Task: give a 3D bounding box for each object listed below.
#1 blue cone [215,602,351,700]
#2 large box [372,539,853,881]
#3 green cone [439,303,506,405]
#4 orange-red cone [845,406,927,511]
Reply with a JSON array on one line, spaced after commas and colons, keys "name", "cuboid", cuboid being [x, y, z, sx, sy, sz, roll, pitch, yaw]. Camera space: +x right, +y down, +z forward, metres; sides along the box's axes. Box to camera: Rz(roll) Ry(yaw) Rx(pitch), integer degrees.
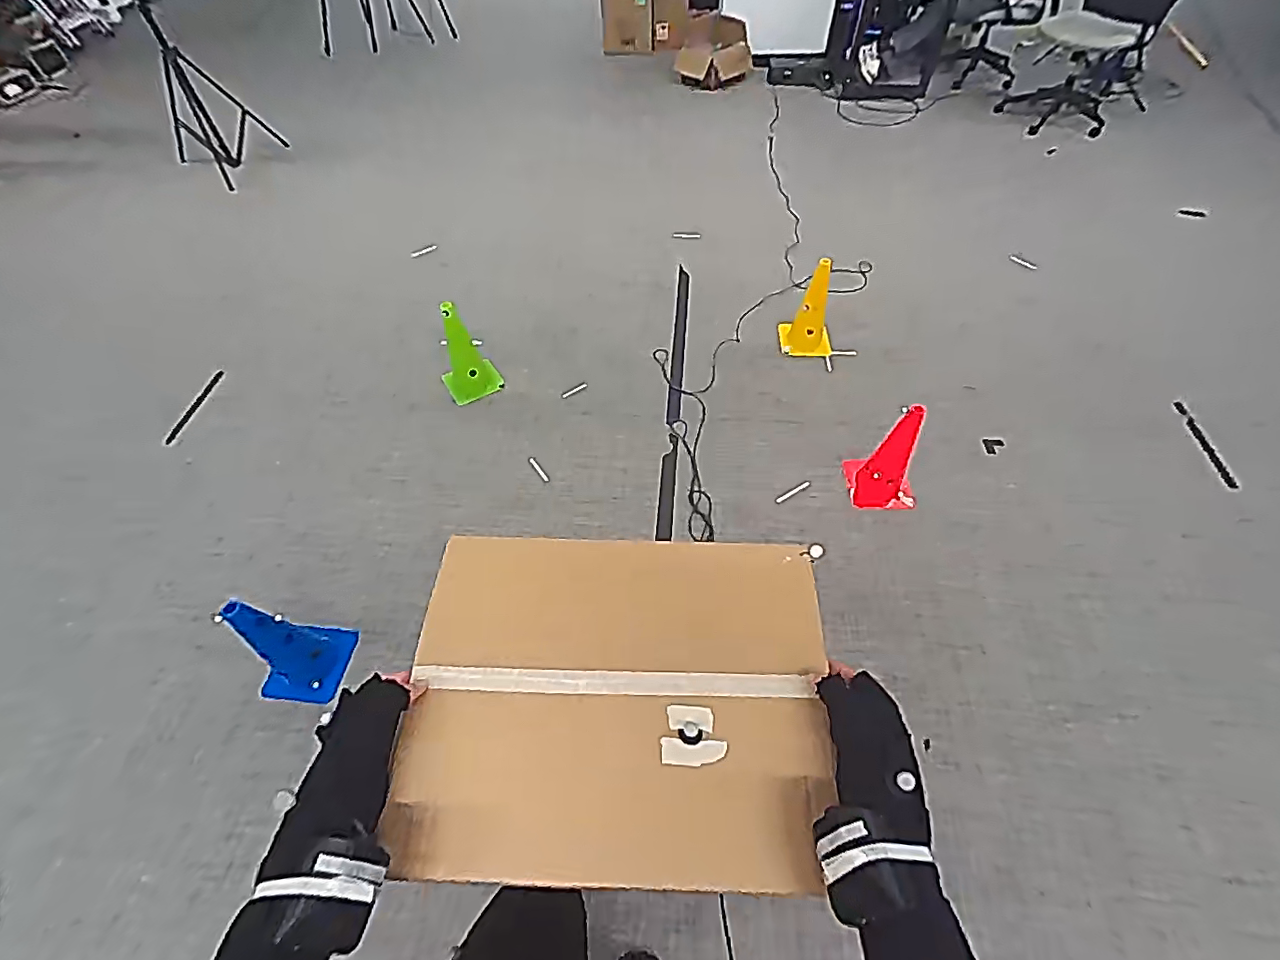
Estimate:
[{"name": "blue cone", "cuboid": [-0.908, 0.399, 1.346, 0.192, 0.380, 0.193, 5, 53, 7]}, {"name": "large box", "cuboid": [-0.022, 0.283, 0.646, 0.408, 0.320, 0.320, 2, 54, 1]}, {"name": "green cone", "cuboid": [-0.657, -0.493, 1.996, 0.202, 0.368, 0.200, -28, 56, -17]}, {"name": "orange-red cone", "cuboid": [0.786, -0.088, 1.654, 0.198, 0.360, 0.199, 2, 51, 2]}]
